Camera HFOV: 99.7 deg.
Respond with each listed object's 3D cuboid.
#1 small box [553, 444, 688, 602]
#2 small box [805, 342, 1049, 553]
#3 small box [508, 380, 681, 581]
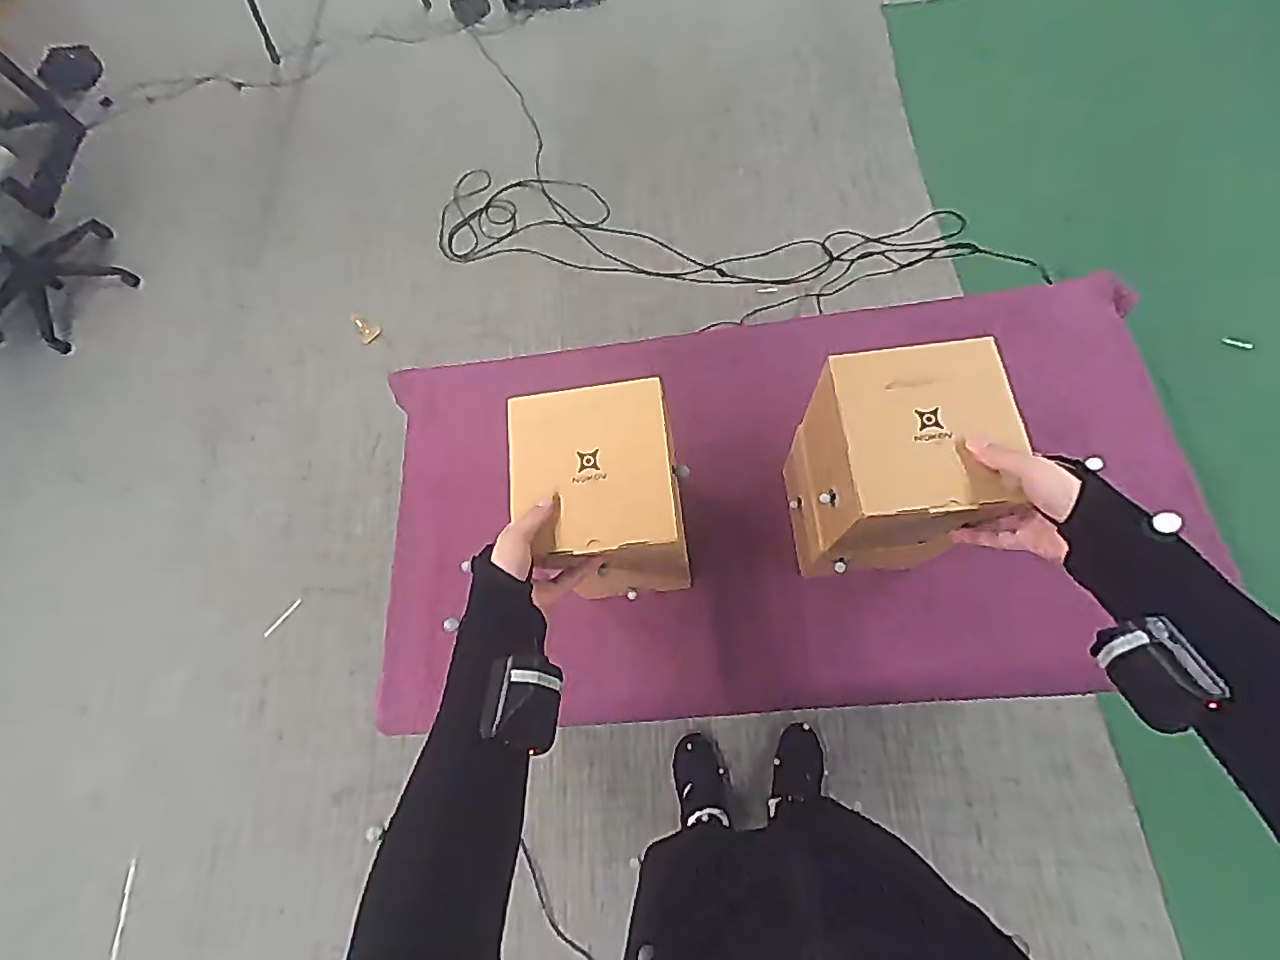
[{"bbox_3d":[-0.023,0.067,0.768,0.168,0.176,0.179,-7,69,5],"label":"small box"},{"bbox_3d":[0.285,-0.022,0.586,0.168,0.176,0.179,-5,69,5],"label":"small box"},{"bbox_3d":[-0.044,0.010,0.611,0.168,0.176,0.179,-7,73,4],"label":"small box"}]
